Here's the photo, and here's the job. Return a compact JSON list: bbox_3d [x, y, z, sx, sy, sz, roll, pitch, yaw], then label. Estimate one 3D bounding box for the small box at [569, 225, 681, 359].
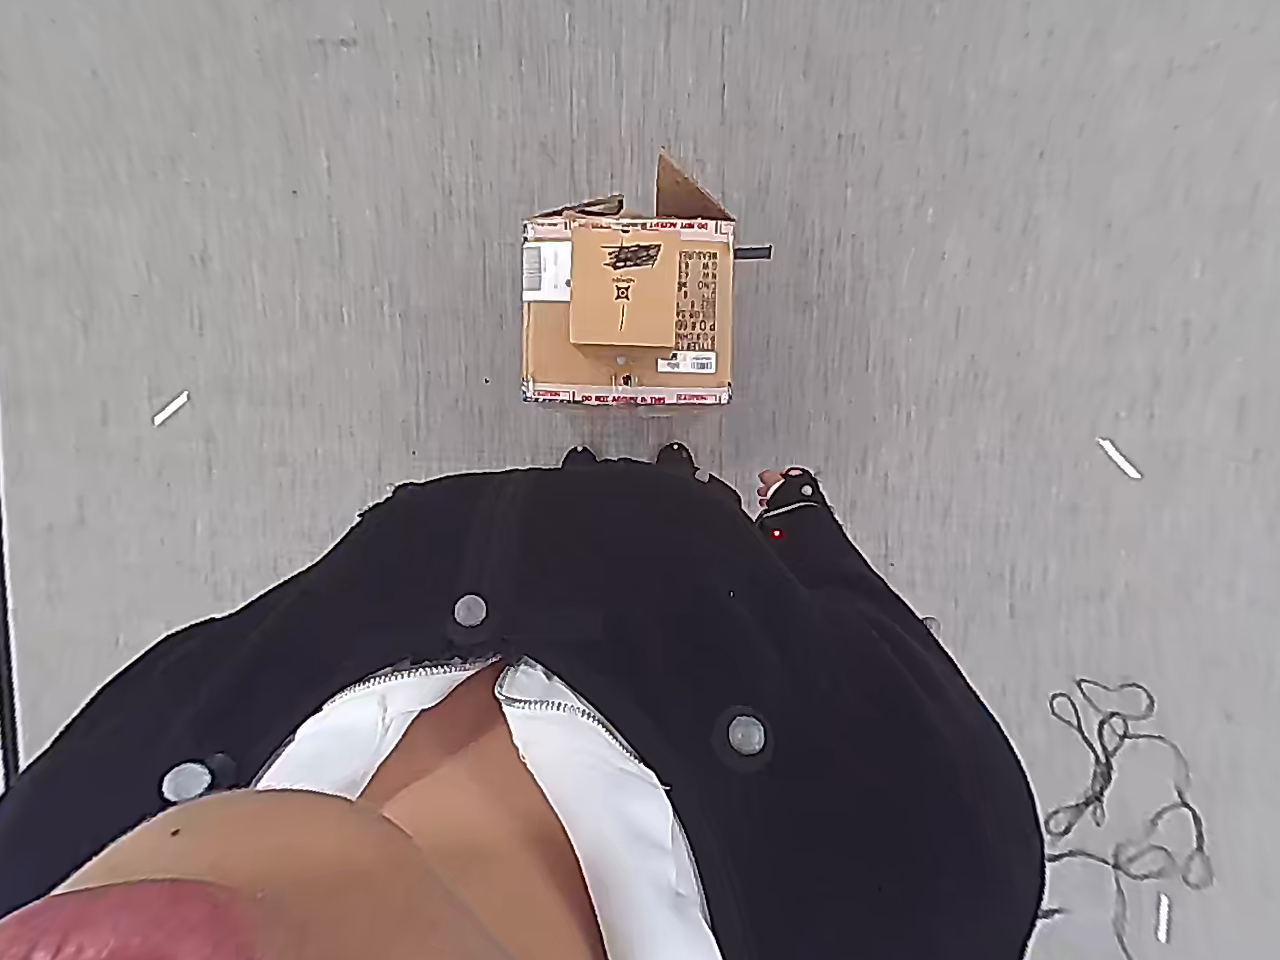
[{"bbox_3d":[-0.024,-0.305,0.906,0.168,0.176,0.179,3,97,1],"label":"small box"}]
